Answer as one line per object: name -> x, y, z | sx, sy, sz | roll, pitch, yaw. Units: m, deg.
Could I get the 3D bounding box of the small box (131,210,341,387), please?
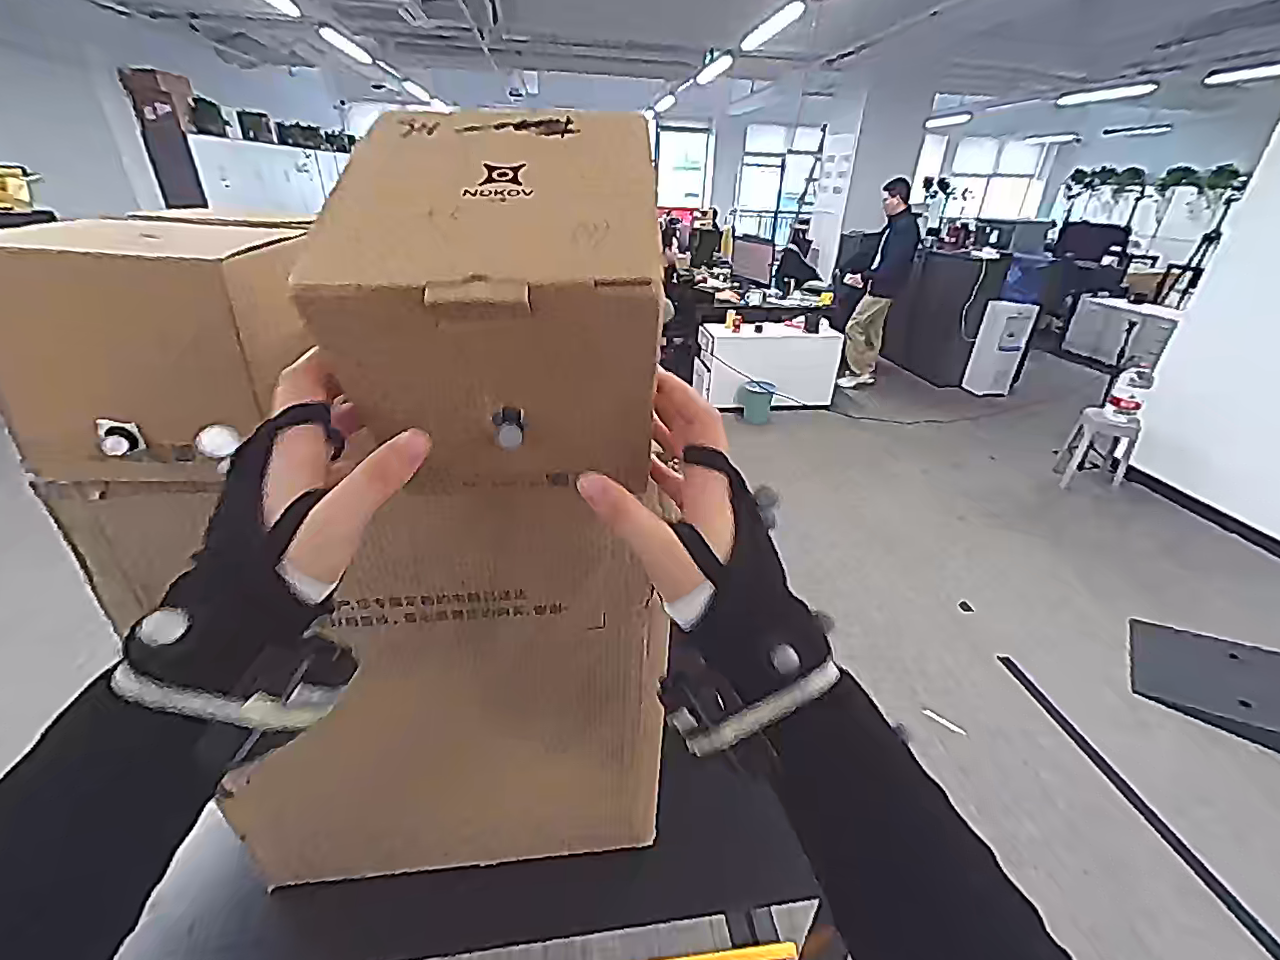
small box -> -0.416, -0.212, 0.627 | 0.168, 0.176, 0.179 | -3, 27, -10

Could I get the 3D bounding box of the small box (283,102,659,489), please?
small box -> -0.075, -0.105, 0.341 | 0.168, 0.176, 0.179 | -1, 58, -2
